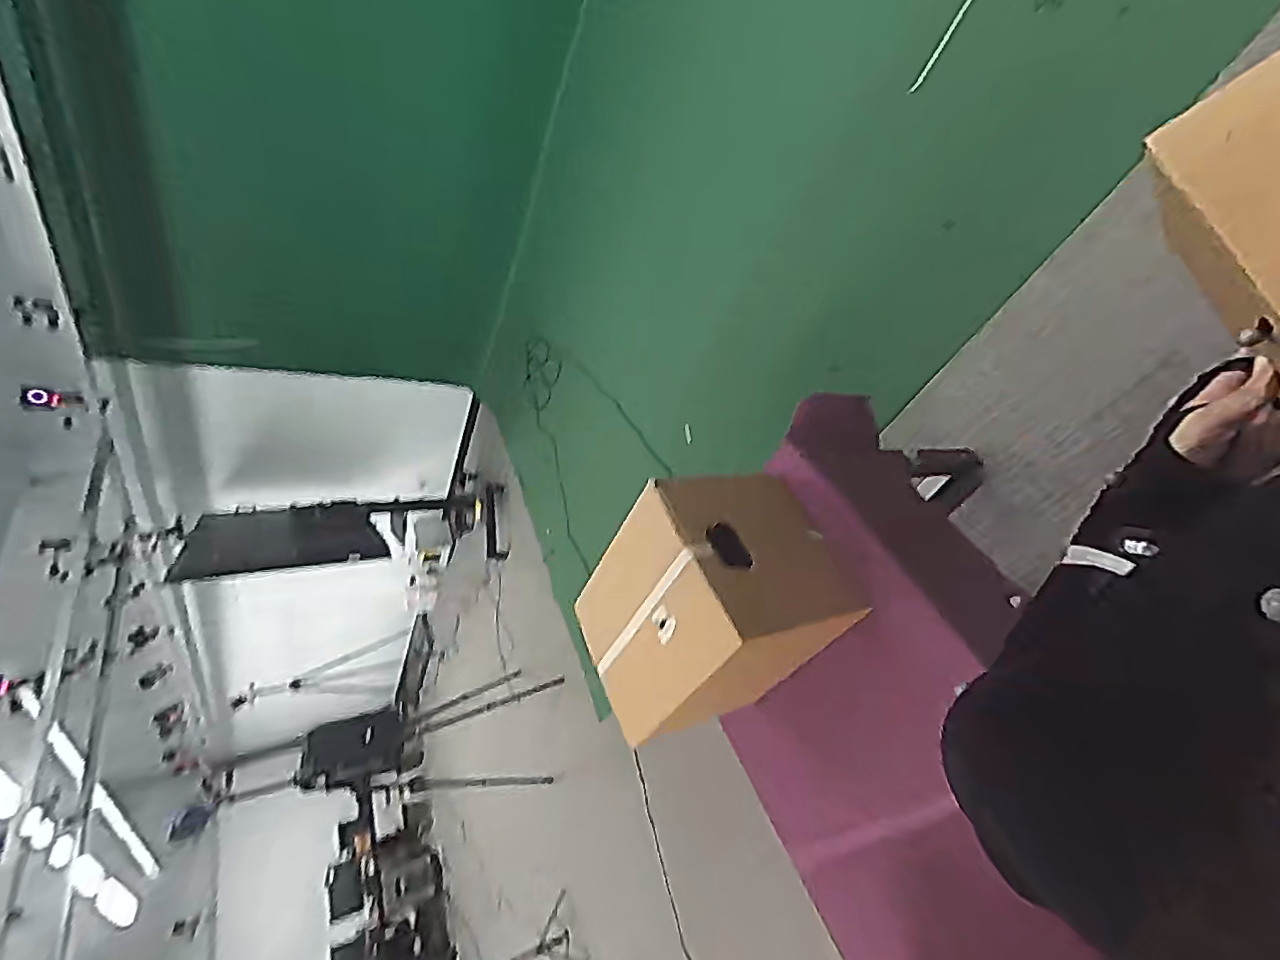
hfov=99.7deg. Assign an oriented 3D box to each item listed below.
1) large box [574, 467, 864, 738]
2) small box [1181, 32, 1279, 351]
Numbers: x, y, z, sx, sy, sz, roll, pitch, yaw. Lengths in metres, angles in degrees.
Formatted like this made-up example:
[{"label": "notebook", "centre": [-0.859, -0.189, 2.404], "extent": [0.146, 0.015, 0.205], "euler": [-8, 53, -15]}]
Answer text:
[{"label": "large box", "centre": [0.123, 0.223, 1.027], "extent": [0.408, 0.320, 0.320], "euler": [-58, 47, 37]}, {"label": "small box", "centre": [0.456, -0.180, 0.307], "extent": [0.168, 0.176, 0.179], "euler": [-30, 67, 41]}]
